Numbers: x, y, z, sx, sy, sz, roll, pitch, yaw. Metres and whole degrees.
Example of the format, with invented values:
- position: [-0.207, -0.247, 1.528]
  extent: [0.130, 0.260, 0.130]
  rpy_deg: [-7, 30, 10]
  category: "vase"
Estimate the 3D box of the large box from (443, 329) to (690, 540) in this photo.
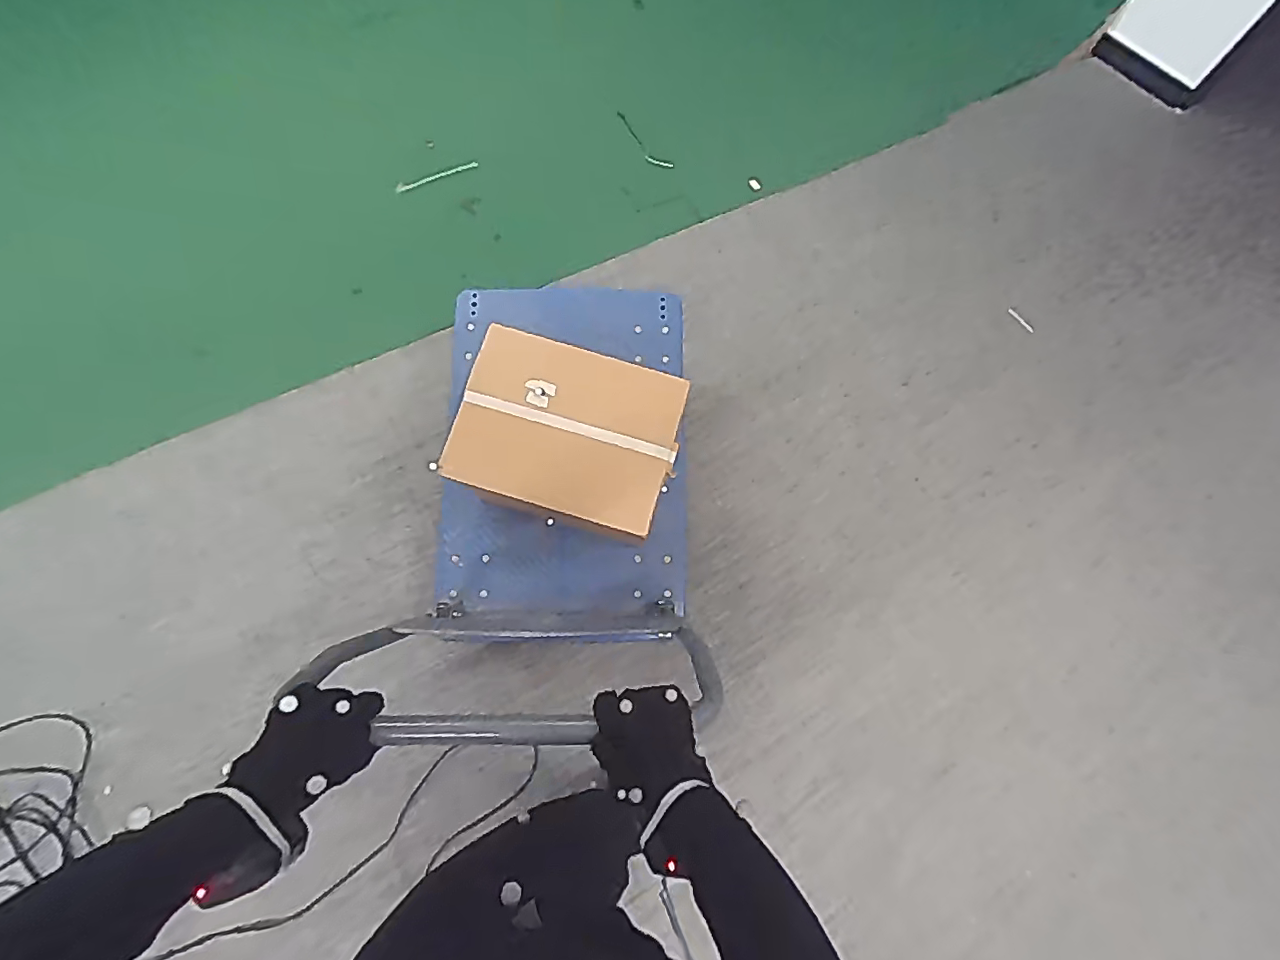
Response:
- position: [-0.132, -0.073, 1.153]
  extent: [0.408, 0.320, 0.320]
  rpy_deg: [16, 80, 3]
  category: "large box"
